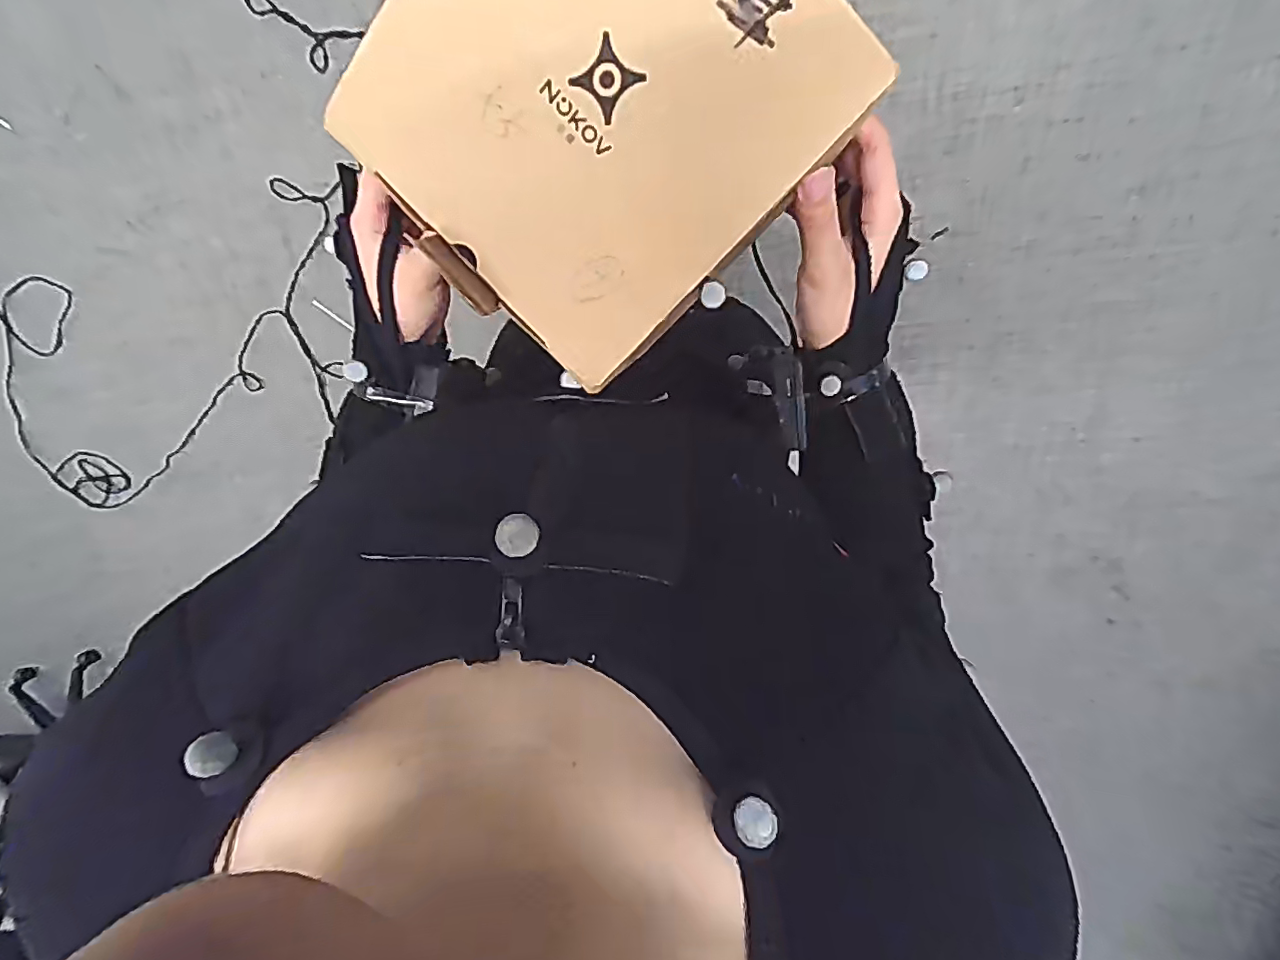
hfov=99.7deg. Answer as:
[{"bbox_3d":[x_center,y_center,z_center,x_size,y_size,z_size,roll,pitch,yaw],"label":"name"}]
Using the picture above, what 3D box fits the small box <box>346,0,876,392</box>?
[{"bbox_3d":[-0.009,-0.177,0.304,0.168,0.176,0.179,44,108,-8],"label":"small box"}]
